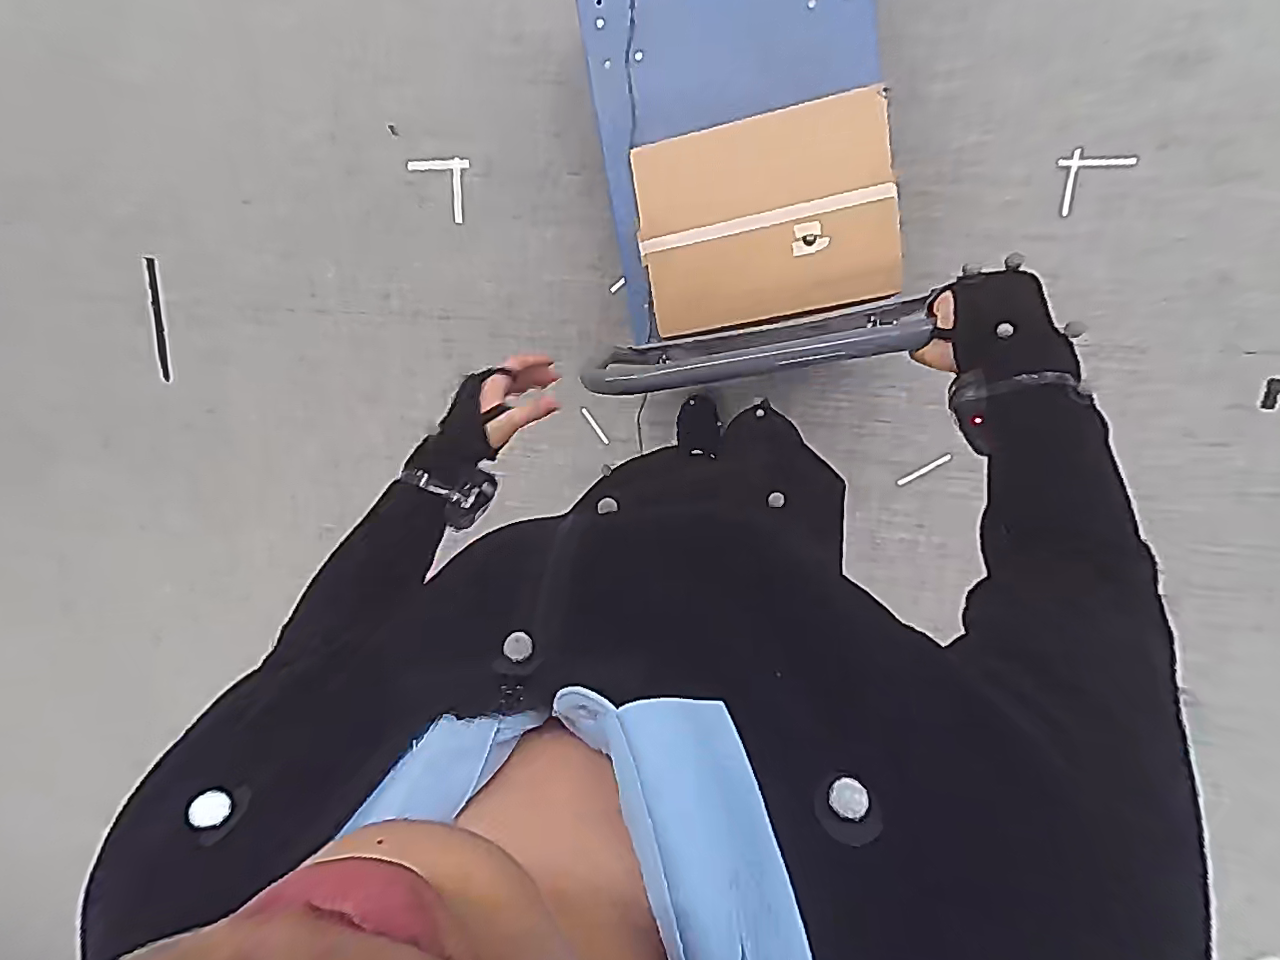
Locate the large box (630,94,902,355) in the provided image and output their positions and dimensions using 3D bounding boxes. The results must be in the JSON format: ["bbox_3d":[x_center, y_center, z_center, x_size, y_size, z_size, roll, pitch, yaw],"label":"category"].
[{"bbox_3d":[0.224,-0.434,1.022,0.408,0.320,0.320,-8,100,11],"label":"large box"}]
